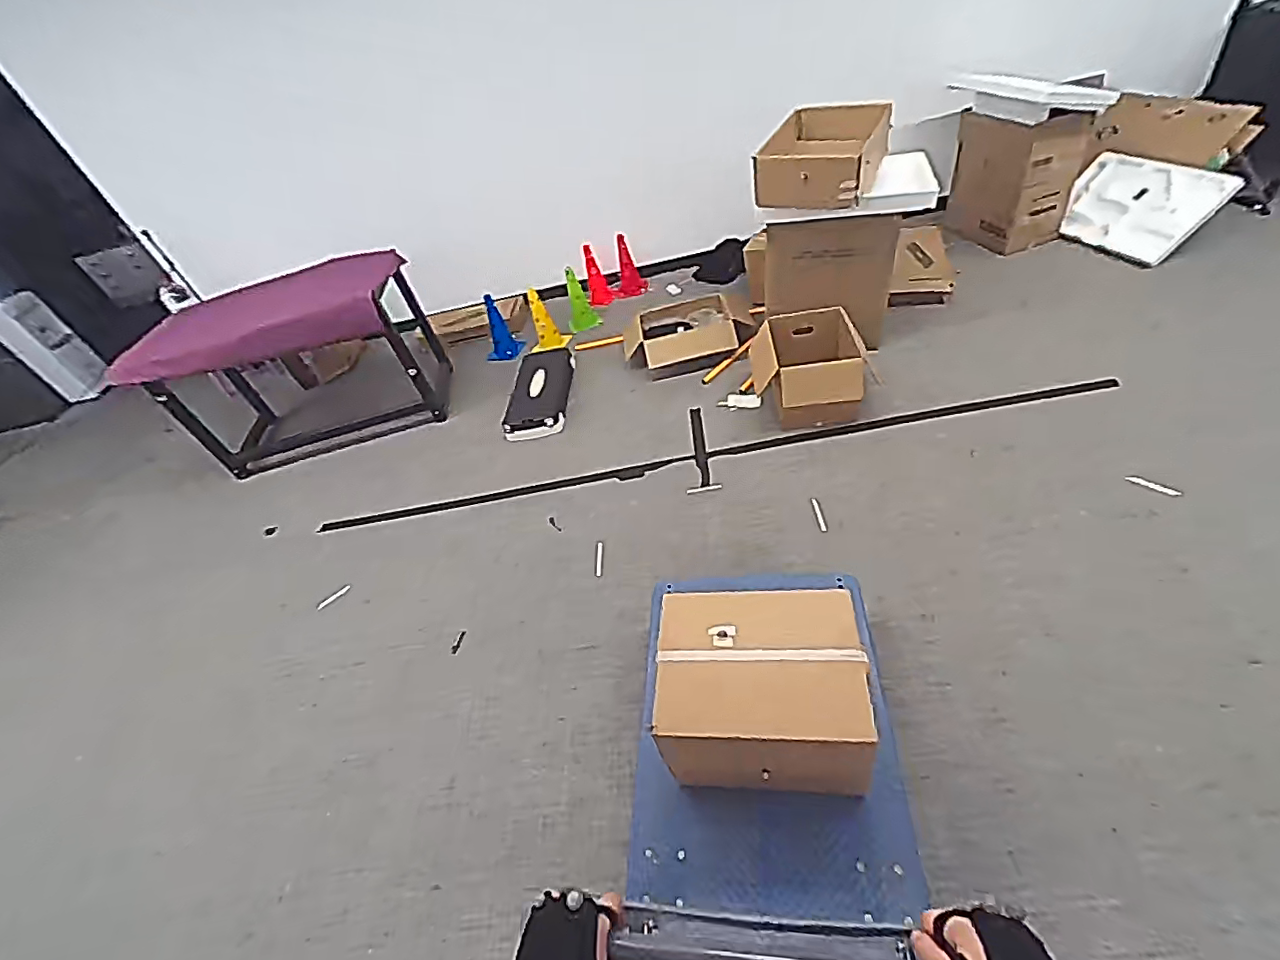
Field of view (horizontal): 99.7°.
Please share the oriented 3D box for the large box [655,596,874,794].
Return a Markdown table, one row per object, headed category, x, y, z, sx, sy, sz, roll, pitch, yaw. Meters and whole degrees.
| category | x | y | z | sx | sy | sz | roll | pitch | yaw |
| --- | --- | --- | --- | --- | --- | --- | --- | --- | --- |
| large box | 0.269 | 0.479 | 1.197 | 0.408 | 0.320 | 0.320 | -5 | 43 | 14 |
